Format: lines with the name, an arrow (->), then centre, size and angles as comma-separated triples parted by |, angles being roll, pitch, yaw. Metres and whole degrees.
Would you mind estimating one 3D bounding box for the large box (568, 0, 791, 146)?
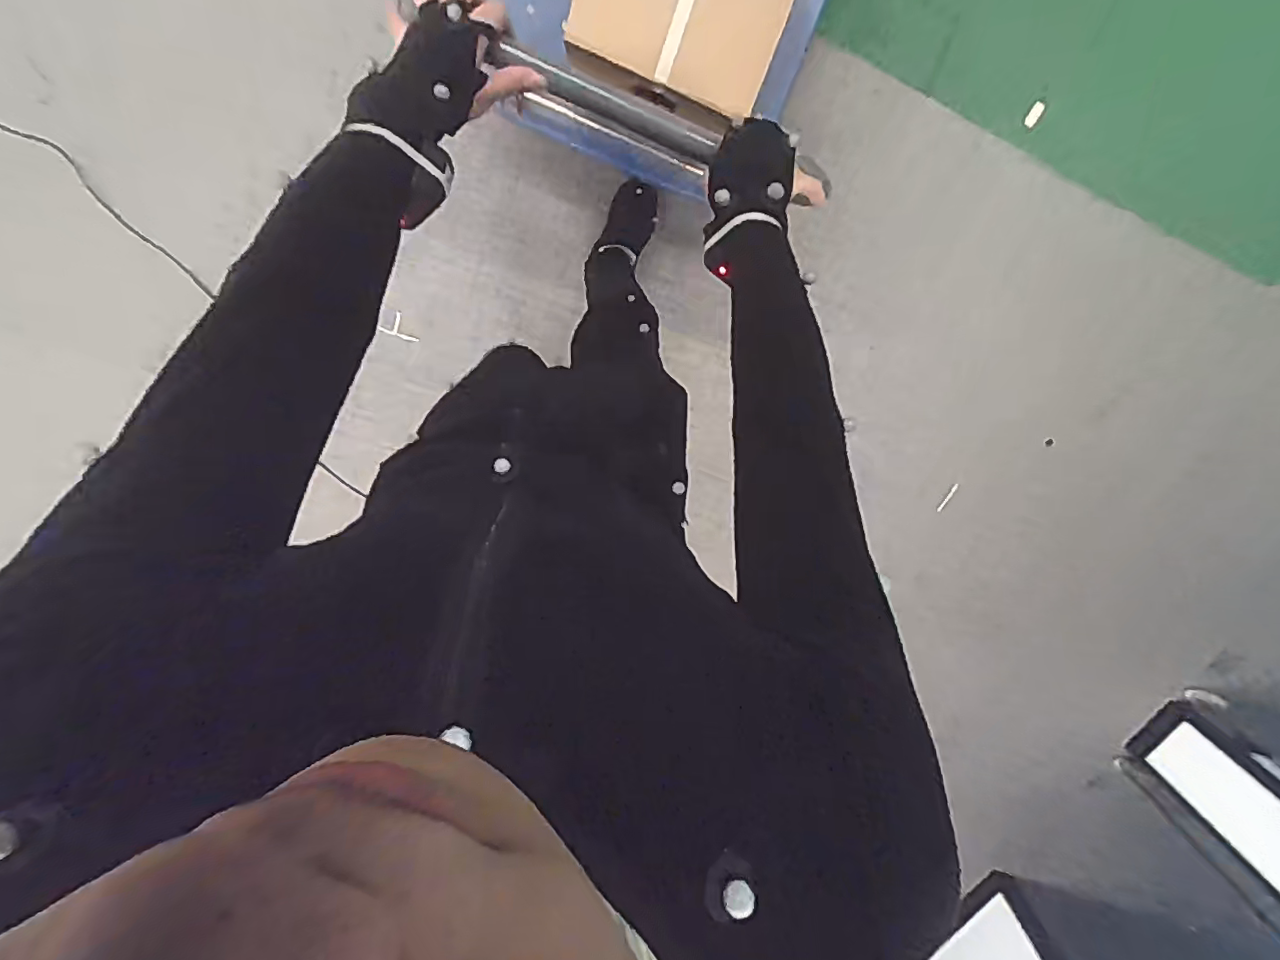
large box -> 0.088, -0.864, 0.921 | 0.320, 0.320, 0.408 | 18, 111, -12
